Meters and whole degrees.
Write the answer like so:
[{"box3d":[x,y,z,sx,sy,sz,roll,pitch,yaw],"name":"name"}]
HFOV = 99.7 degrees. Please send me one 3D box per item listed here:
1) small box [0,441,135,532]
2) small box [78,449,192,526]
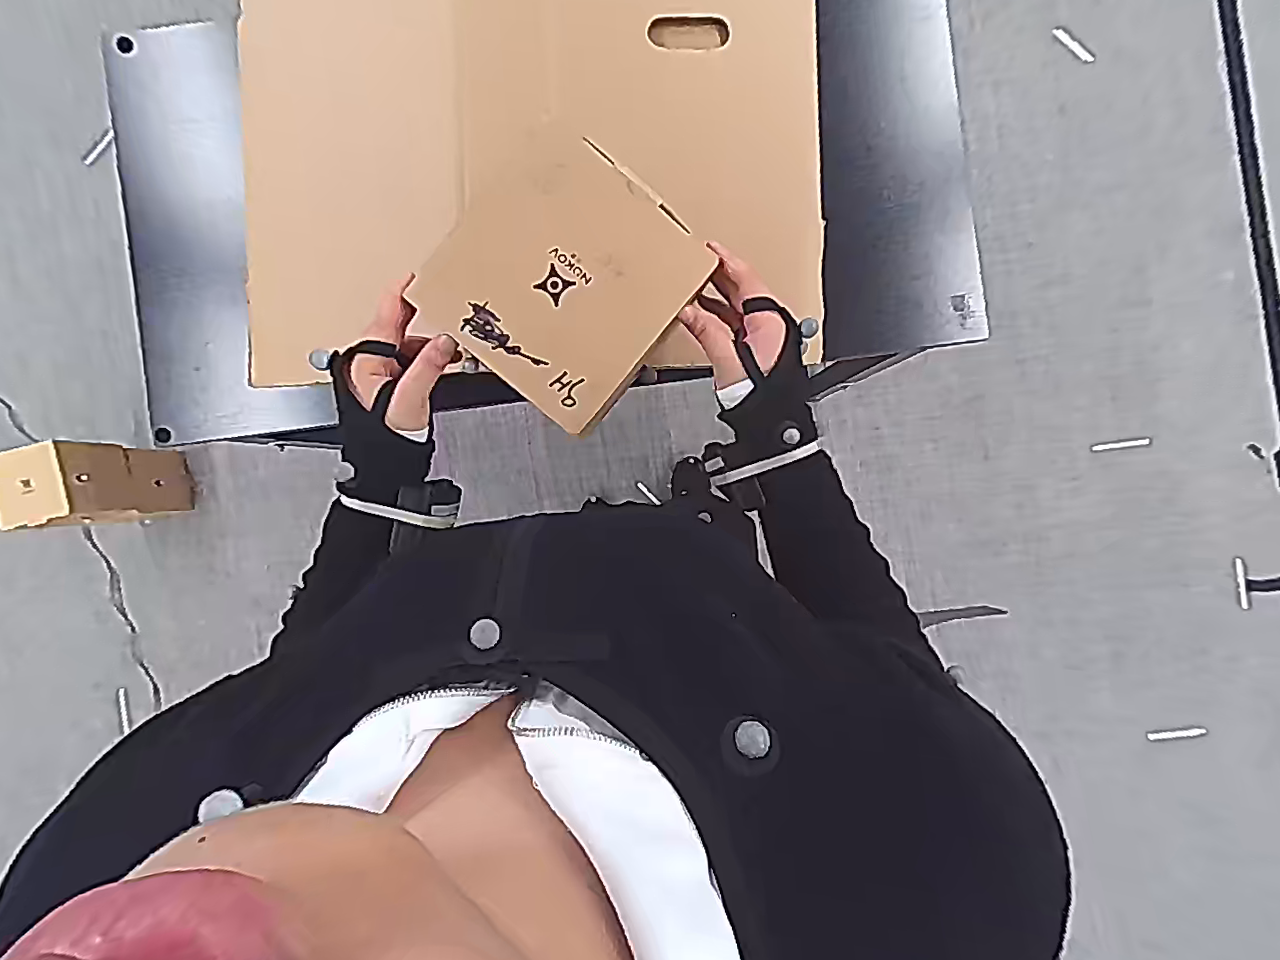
[{"box3d":[-1.364,0.014,1.288,0.168,0.176,0.179,-14,88,0],"name":"small box"},{"box3d":[-1.358,0.020,1.450,0.168,0.176,0.179,-11,90,1],"name":"small box"}]
